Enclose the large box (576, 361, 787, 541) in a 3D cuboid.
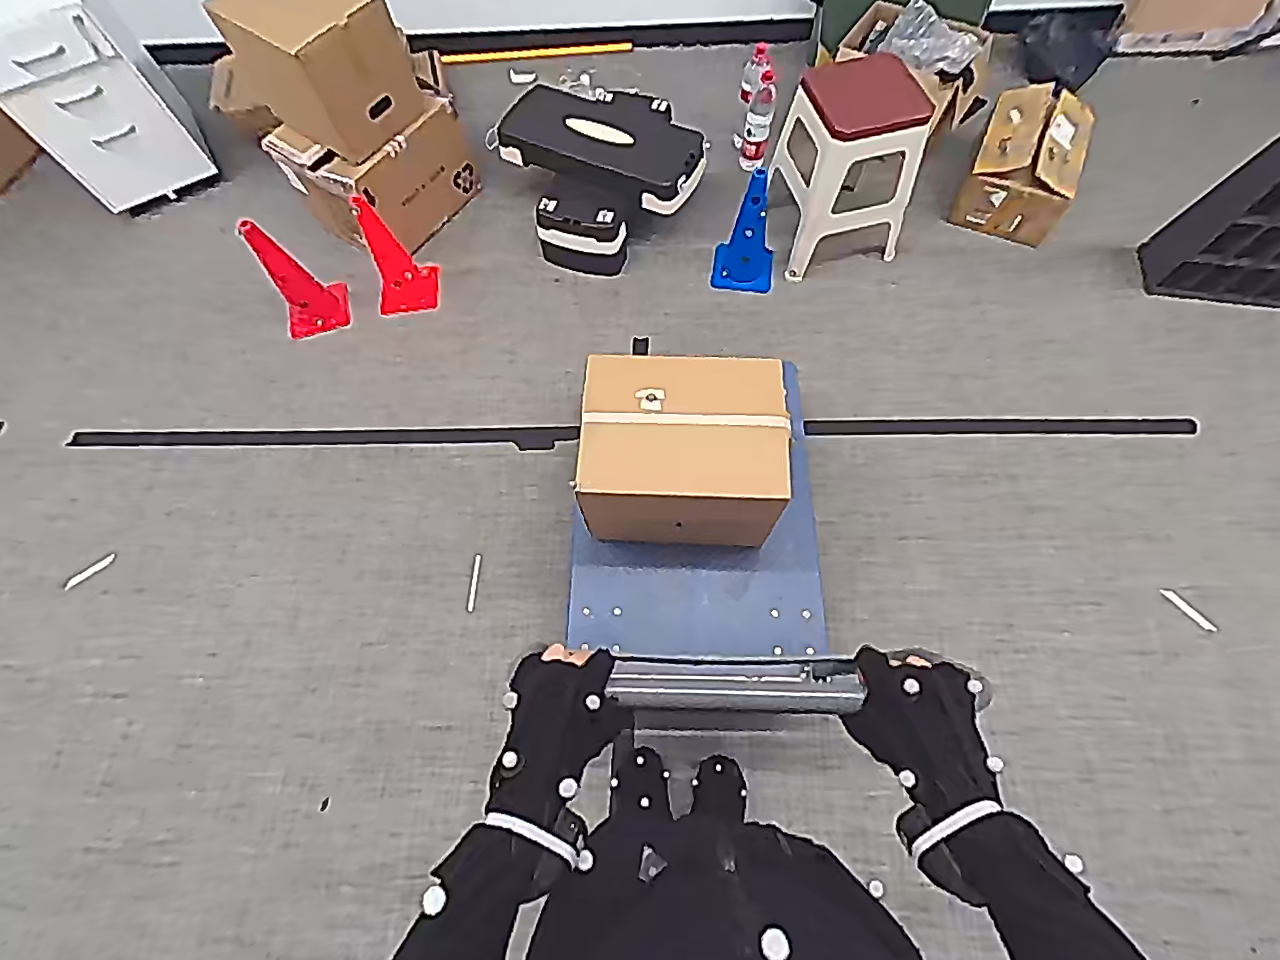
[{"bbox_3d":[0.090,-0.051,1.207,0.408,0.320,0.320,1,67,4],"label":"large box"}]
